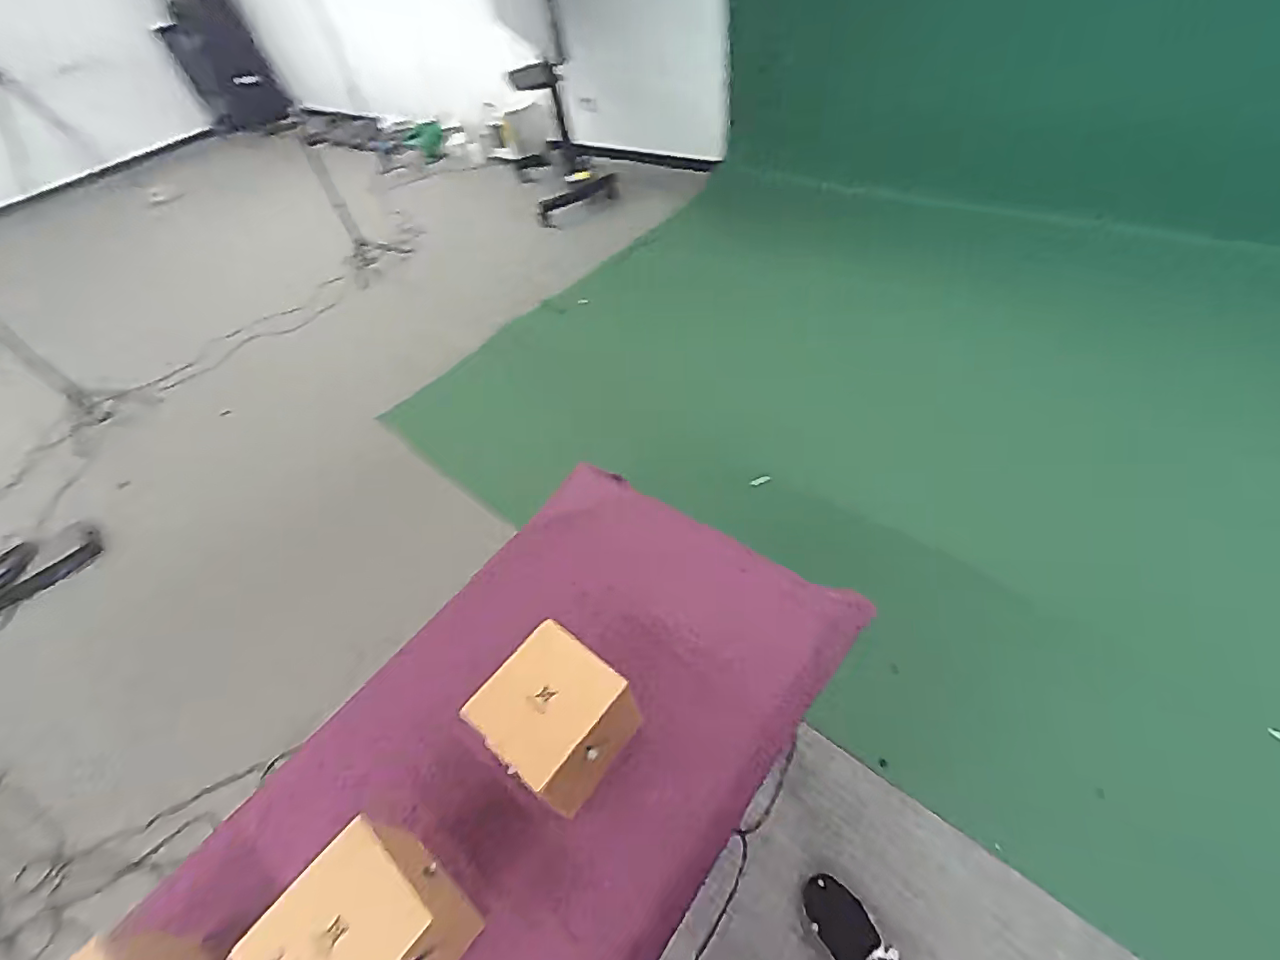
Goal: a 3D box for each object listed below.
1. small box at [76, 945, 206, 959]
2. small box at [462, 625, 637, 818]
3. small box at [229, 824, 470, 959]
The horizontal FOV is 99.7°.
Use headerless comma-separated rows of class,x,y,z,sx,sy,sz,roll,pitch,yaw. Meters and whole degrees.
small box,-0.614,0.679,0.608,0.168,0.176,0.179,28,59,29
small box,-0.119,0.355,0.796,0.168,0.176,0.179,28,61,30
small box,-0.330,0.564,0.653,0.168,0.176,0.179,28,60,30
